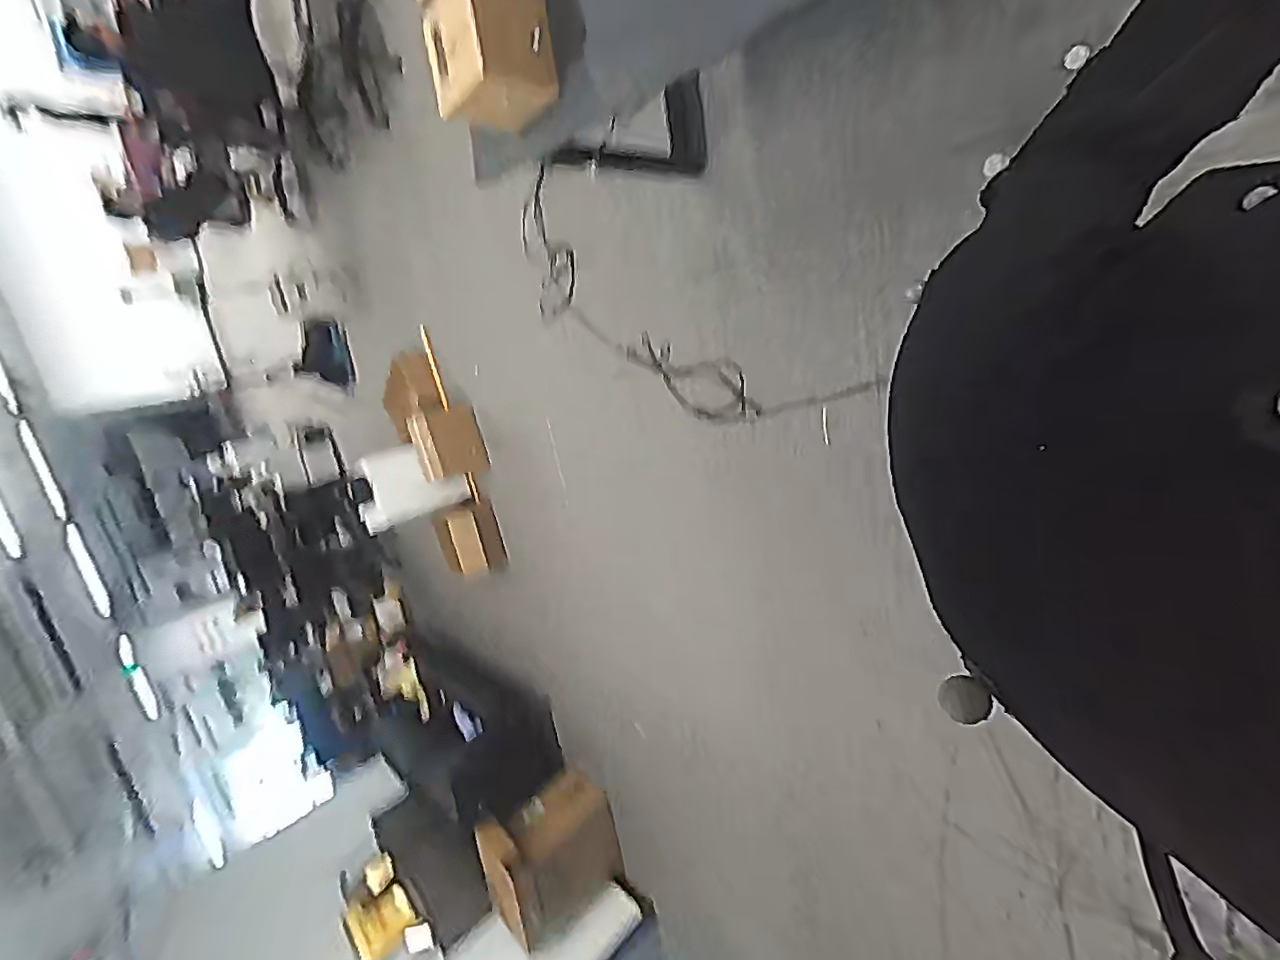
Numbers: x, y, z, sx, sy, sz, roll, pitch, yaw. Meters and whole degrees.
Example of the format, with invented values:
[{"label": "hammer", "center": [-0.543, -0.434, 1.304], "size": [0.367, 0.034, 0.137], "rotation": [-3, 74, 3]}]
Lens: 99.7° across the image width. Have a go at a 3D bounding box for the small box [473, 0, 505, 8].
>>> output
[{"label": "small box", "center": [-0.307, -1.013, 0.980], "size": [0.179, 0.176, 0.168], "rotation": [3, 110, 47]}]
